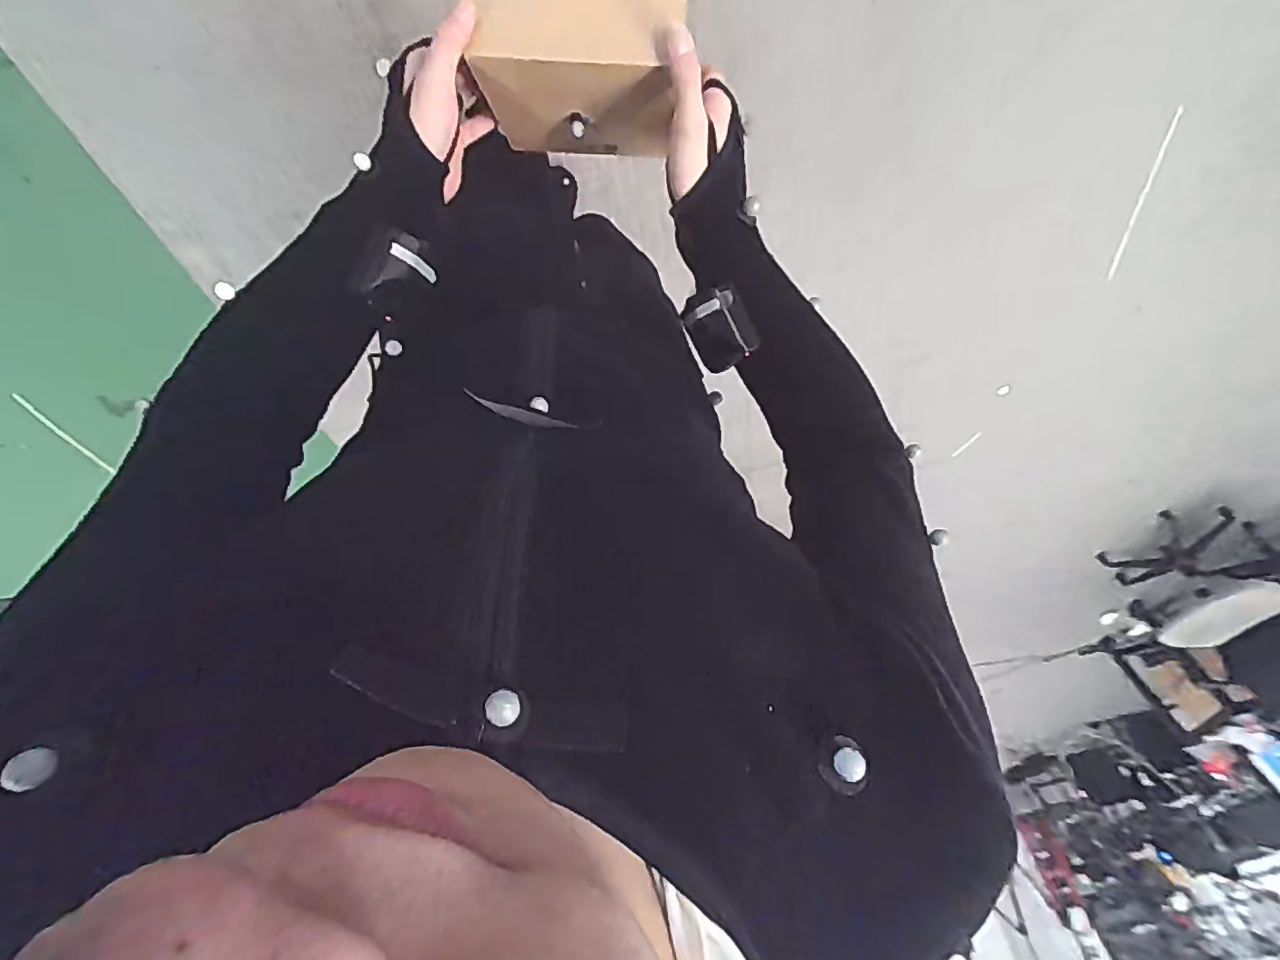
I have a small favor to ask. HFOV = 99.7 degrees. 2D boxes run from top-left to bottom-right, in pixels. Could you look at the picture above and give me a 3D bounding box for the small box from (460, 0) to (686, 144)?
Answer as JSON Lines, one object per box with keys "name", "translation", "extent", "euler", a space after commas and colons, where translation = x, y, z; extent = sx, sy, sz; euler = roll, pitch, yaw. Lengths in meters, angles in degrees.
{"name": "small box", "translation": [-0.044, -0.411, 0.456], "extent": [0.168, 0.176, 0.179], "euler": [3, 100, -1]}
